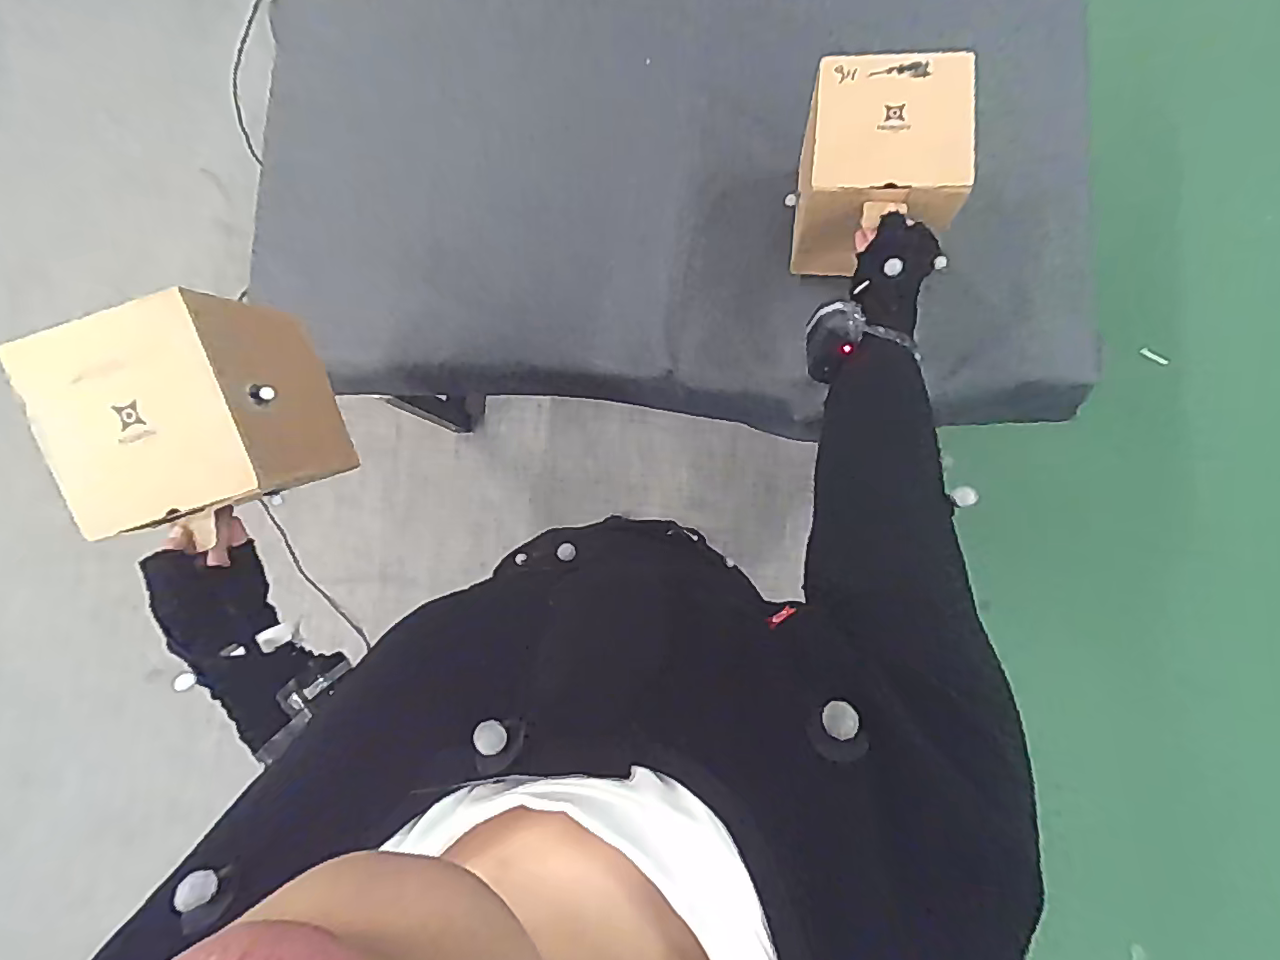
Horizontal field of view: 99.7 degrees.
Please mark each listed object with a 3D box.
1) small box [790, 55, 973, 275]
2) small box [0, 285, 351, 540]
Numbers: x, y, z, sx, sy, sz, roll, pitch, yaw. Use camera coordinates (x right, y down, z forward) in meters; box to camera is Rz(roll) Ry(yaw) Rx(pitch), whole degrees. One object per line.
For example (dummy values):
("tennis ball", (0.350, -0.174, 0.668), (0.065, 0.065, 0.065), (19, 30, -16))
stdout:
("small box", (0.285, -0.377, 0.671), (0.168, 0.176, 0.179), (6, 80, 8))
("small box", (-0.419, -0.064, 0.523), (0.168, 0.176, 0.179), (-18, 98, 2))
